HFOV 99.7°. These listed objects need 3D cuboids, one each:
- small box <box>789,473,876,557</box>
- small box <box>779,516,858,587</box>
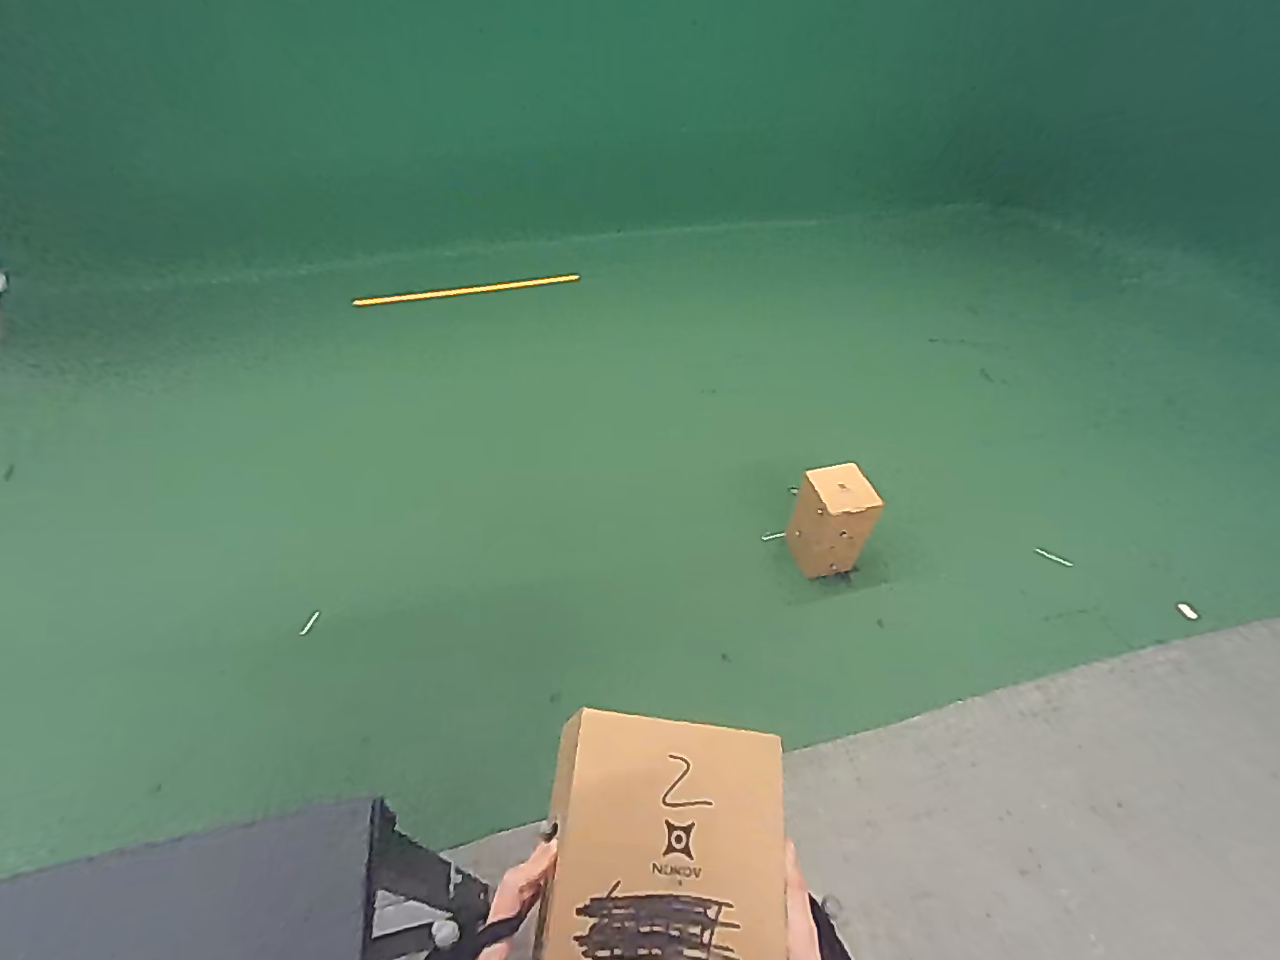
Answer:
[{"bbox_3d":[0.576,0.107,1.646,0.168,0.176,0.179,-9,47,-11],"label":"small box"},{"bbox_3d":[0.572,0.221,1.761,0.168,0.176,0.179,-9,47,-10],"label":"small box"}]
